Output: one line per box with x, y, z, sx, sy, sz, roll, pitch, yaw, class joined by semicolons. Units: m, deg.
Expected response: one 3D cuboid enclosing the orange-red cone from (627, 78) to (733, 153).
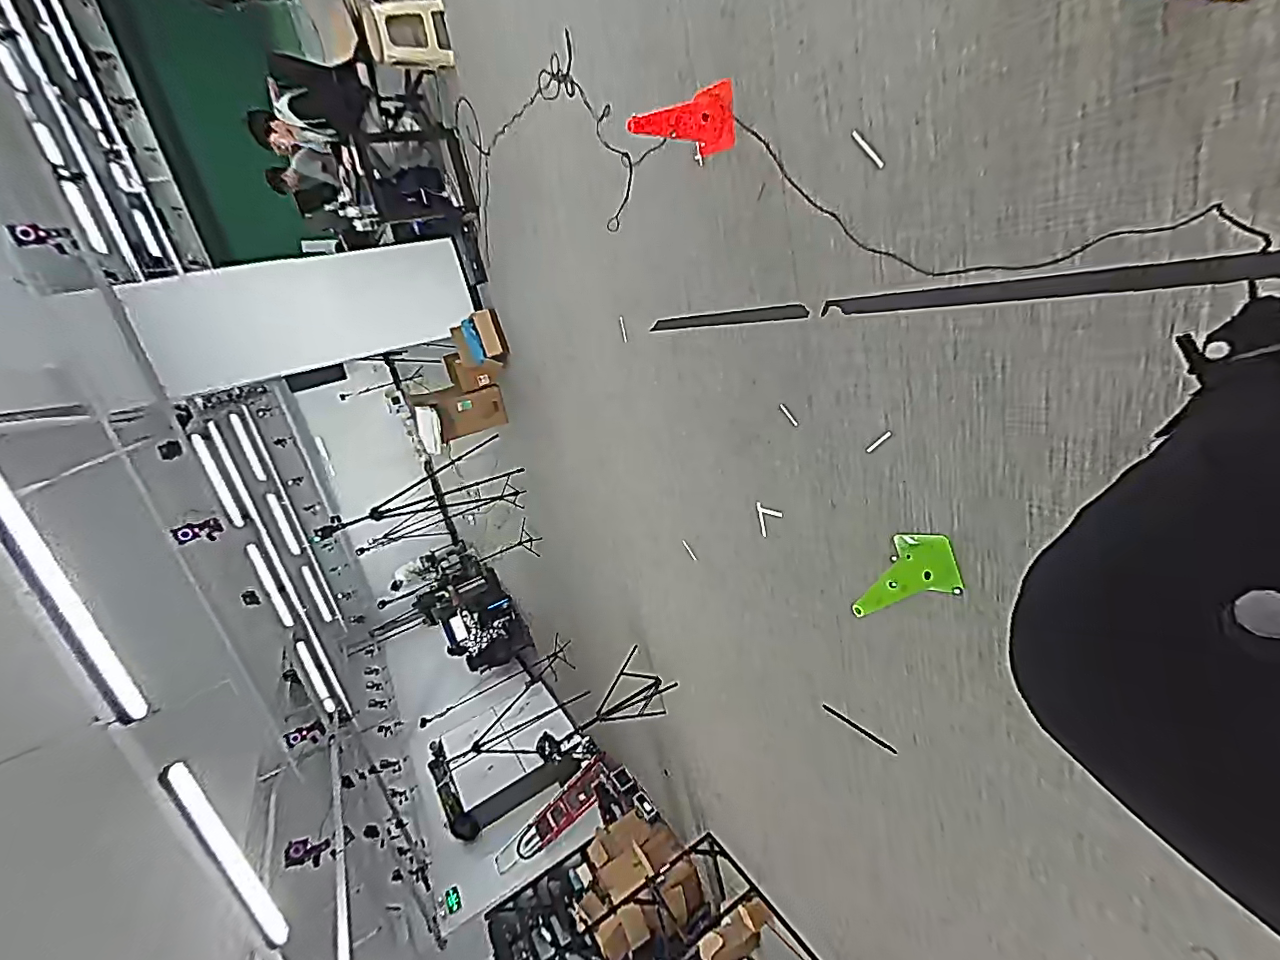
0.115;-1.211;1.821;0.199;0.360;0.198;28;135;52;orange-red cone

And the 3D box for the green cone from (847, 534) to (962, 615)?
0.800;0.328;1.711;0.202;0.368;0.200;-10;100;66;green cone
